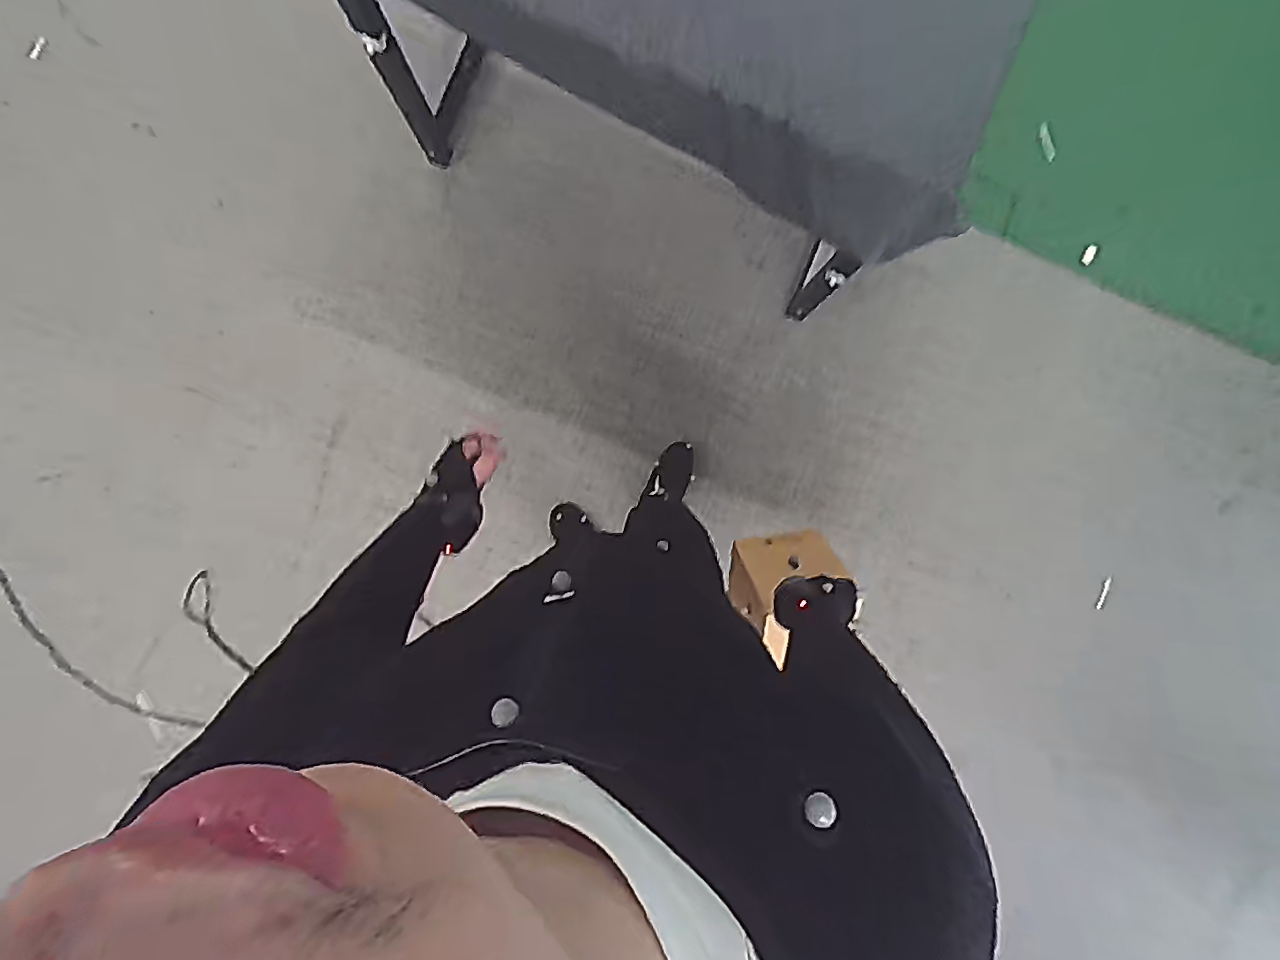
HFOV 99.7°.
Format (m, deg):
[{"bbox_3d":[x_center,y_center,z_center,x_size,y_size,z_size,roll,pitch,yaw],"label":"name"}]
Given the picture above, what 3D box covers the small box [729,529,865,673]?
[{"bbox_3d":[0.265,0.205,0.959,0.168,0.176,0.179,-11,130,-8],"label":"small box"}]
